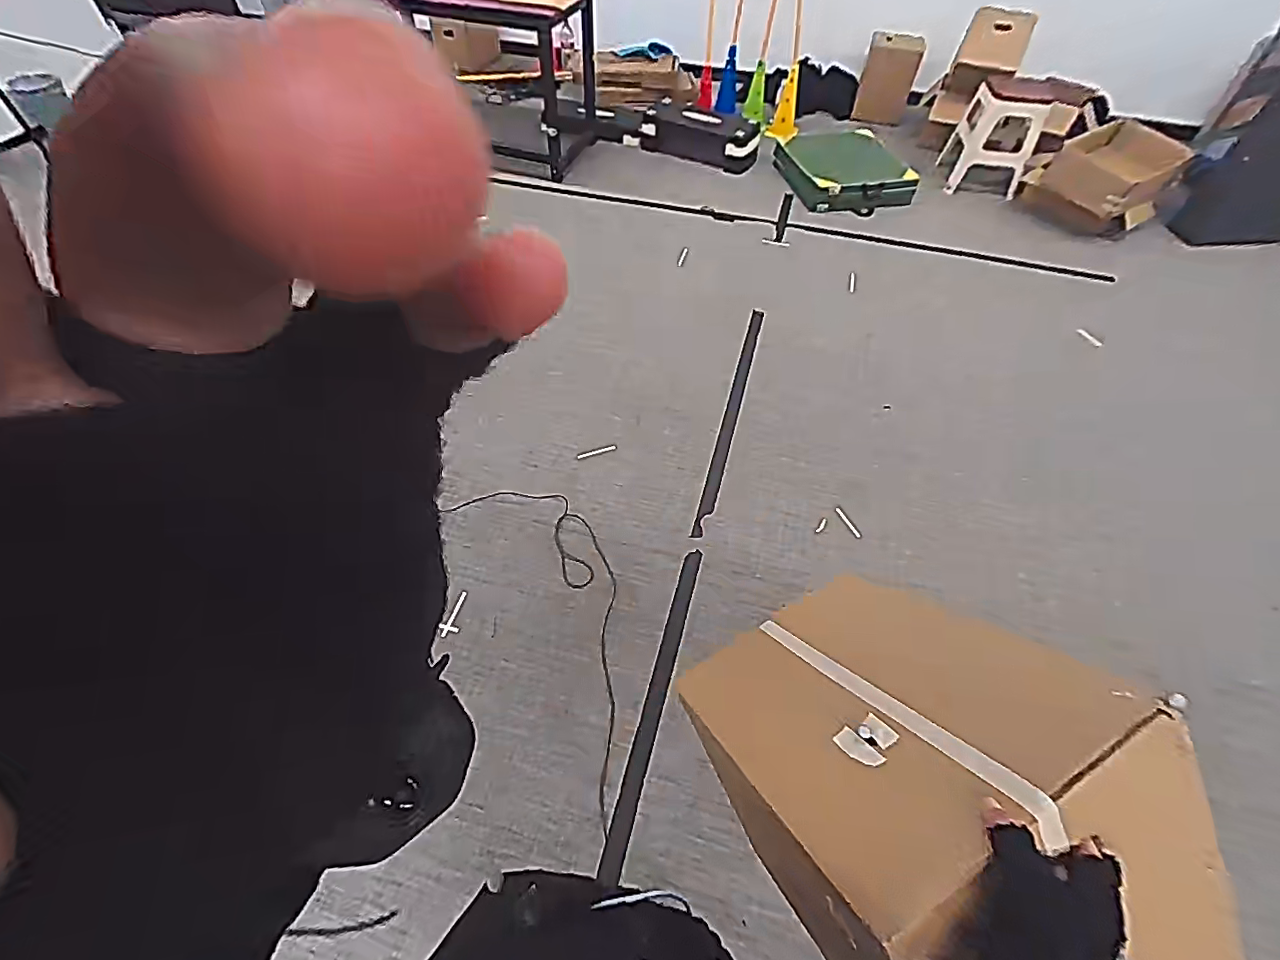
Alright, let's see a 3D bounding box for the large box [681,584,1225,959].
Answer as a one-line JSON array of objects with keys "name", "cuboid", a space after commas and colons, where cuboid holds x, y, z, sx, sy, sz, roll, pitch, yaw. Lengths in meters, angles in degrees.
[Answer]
[{"name": "large box", "cuboid": [0.303, 0.371, 0.622, 0.320, 0.408, 0.320, -27, 103, -13]}]
